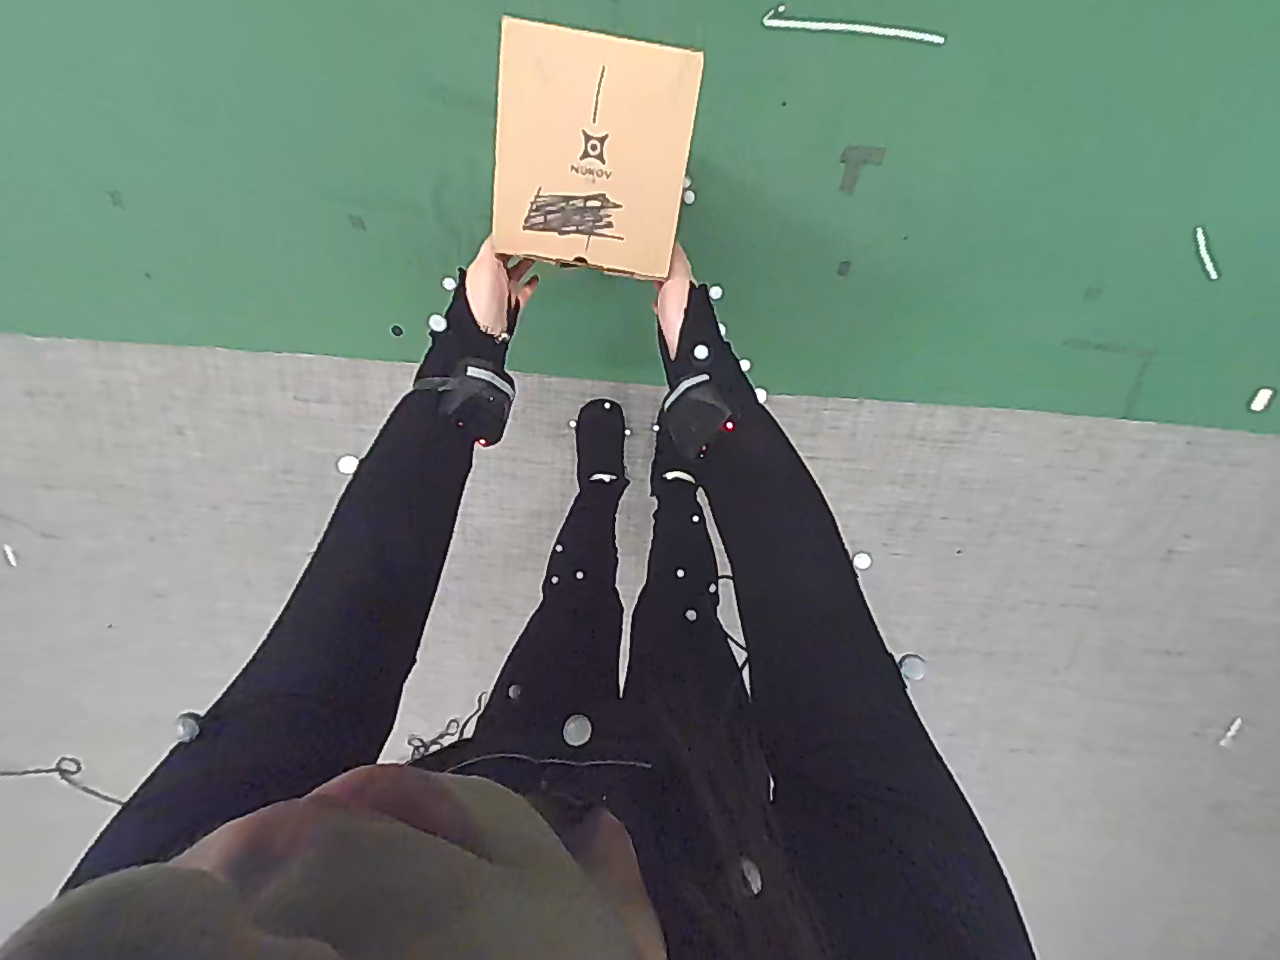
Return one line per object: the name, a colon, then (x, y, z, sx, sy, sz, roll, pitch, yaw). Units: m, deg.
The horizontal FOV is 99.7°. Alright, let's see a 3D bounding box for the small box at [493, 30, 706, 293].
small box: (-0.037, -0.295, 0.536, 0.168, 0.176, 0.179, 10, 113, -2)
